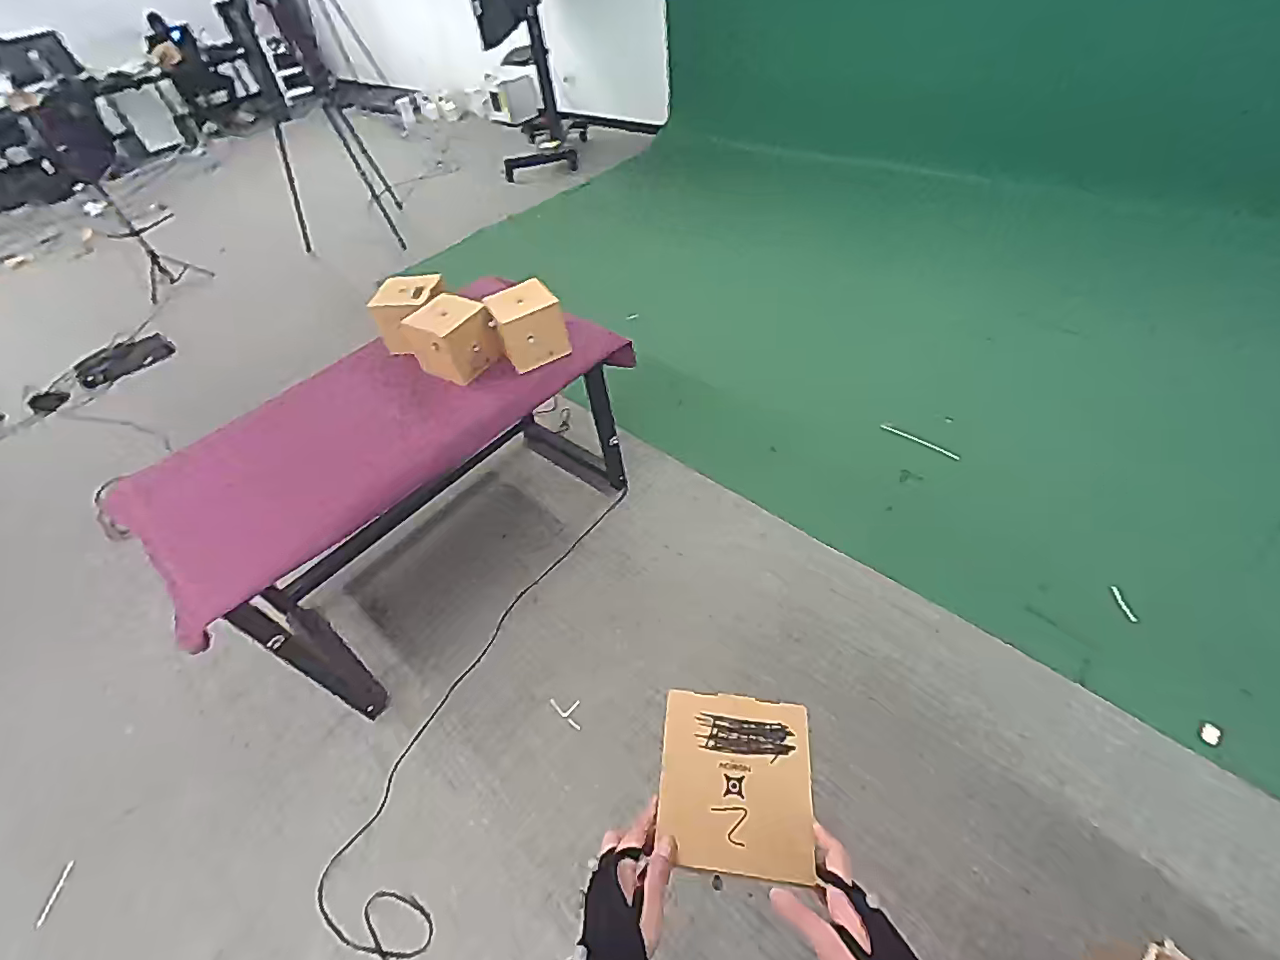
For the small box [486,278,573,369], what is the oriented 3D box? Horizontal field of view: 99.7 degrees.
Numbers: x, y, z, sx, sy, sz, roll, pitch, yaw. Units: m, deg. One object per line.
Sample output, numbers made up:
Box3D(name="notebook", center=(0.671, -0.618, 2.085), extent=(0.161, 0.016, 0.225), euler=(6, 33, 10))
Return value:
Box3D(name="small box", center=(-0.306, -0.434, 1.523), extent=(0.168, 0.176, 0.179), euler=(-27, 48, -13))
